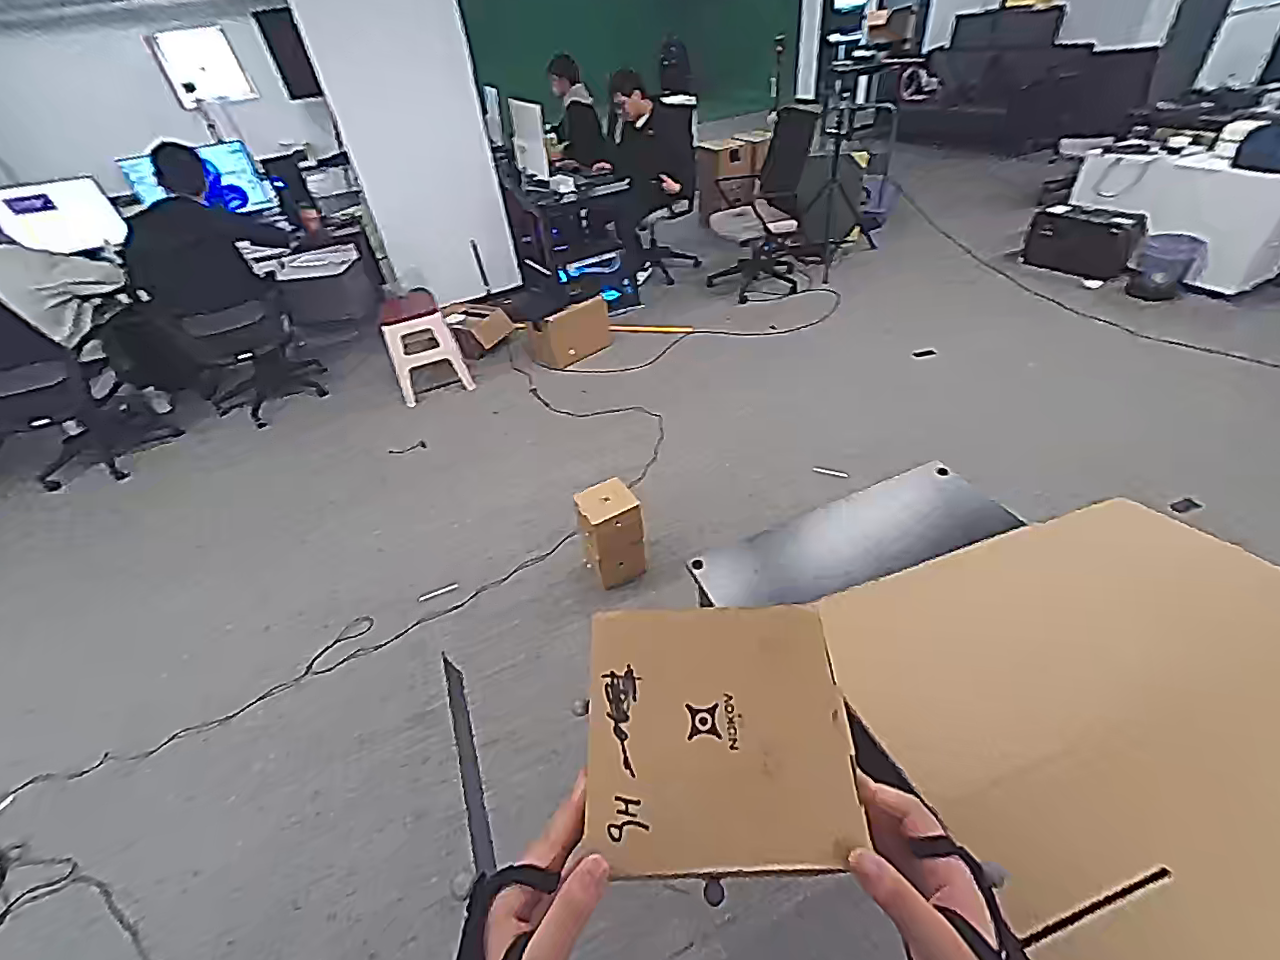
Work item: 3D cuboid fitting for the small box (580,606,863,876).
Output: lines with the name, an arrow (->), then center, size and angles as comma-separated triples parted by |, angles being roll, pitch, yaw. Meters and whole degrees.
small box -> 0.047, 0.213, 0.437 | 0.179, 0.176, 0.168 | -1, 52, -1

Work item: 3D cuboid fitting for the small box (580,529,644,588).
small box -> -0.095, 0.254, 1.940 | 0.179, 0.176, 0.168 | -23, 43, -16

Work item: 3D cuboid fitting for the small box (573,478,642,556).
small box -> -0.105, 0.129, 1.836 | 0.179, 0.176, 0.168 | -24, 44, -19
